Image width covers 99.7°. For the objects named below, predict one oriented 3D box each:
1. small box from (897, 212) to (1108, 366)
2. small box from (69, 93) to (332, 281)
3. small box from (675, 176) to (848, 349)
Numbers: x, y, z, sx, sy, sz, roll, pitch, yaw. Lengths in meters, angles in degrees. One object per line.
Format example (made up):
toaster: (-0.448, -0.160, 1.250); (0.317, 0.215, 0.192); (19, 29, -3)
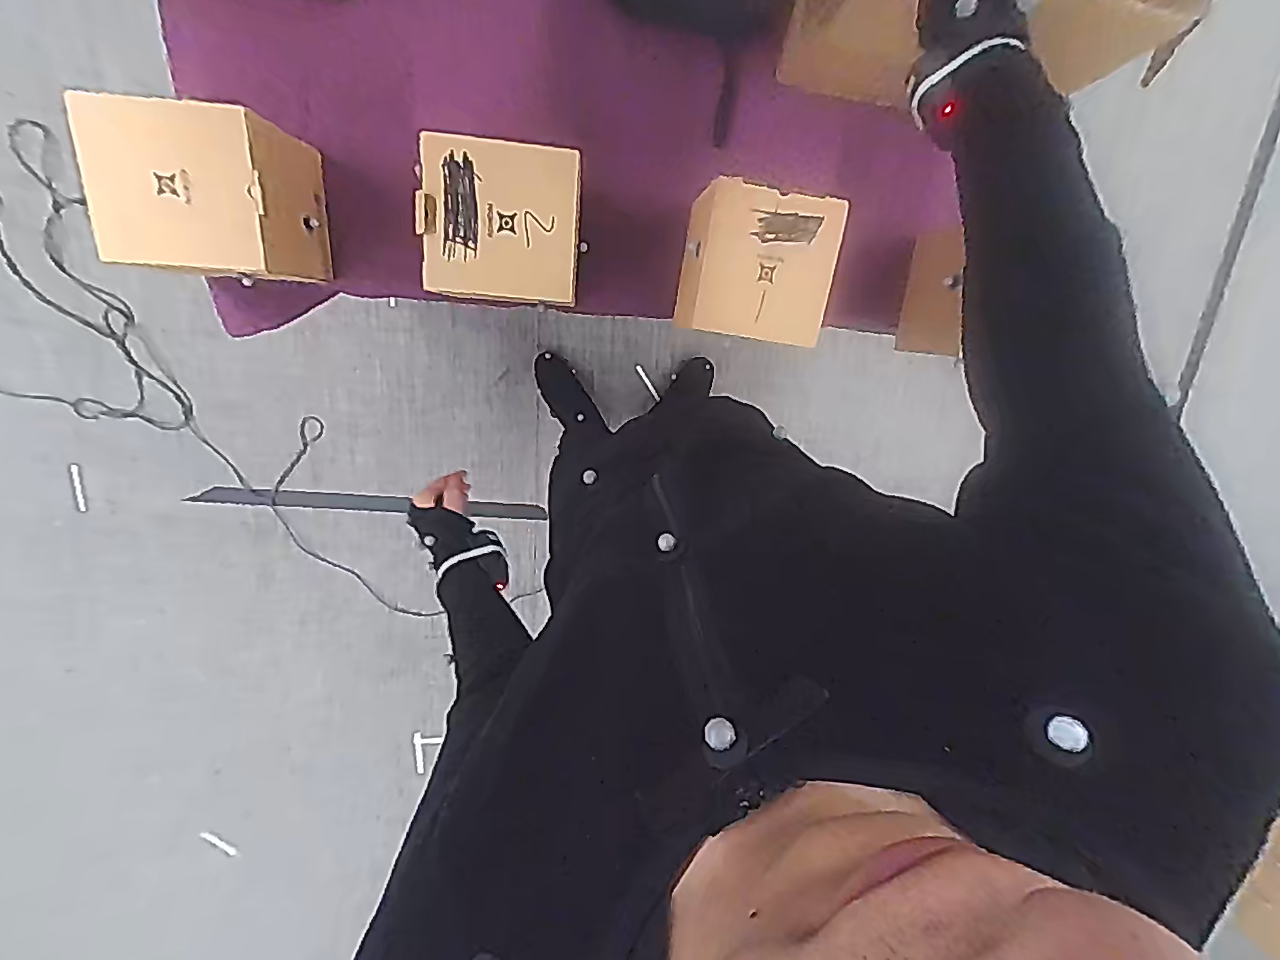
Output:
small box: (0.496, -0.264, 0.771); (0.168, 0.176, 0.179); (4, 106, -5)
small box: (-0.509, -0.337, 0.657); (0.179, 0.176, 0.168); (1, 106, -7)
small box: (0.149, -0.284, 0.734); (0.168, 0.176, 0.179); (7, 107, -7)
